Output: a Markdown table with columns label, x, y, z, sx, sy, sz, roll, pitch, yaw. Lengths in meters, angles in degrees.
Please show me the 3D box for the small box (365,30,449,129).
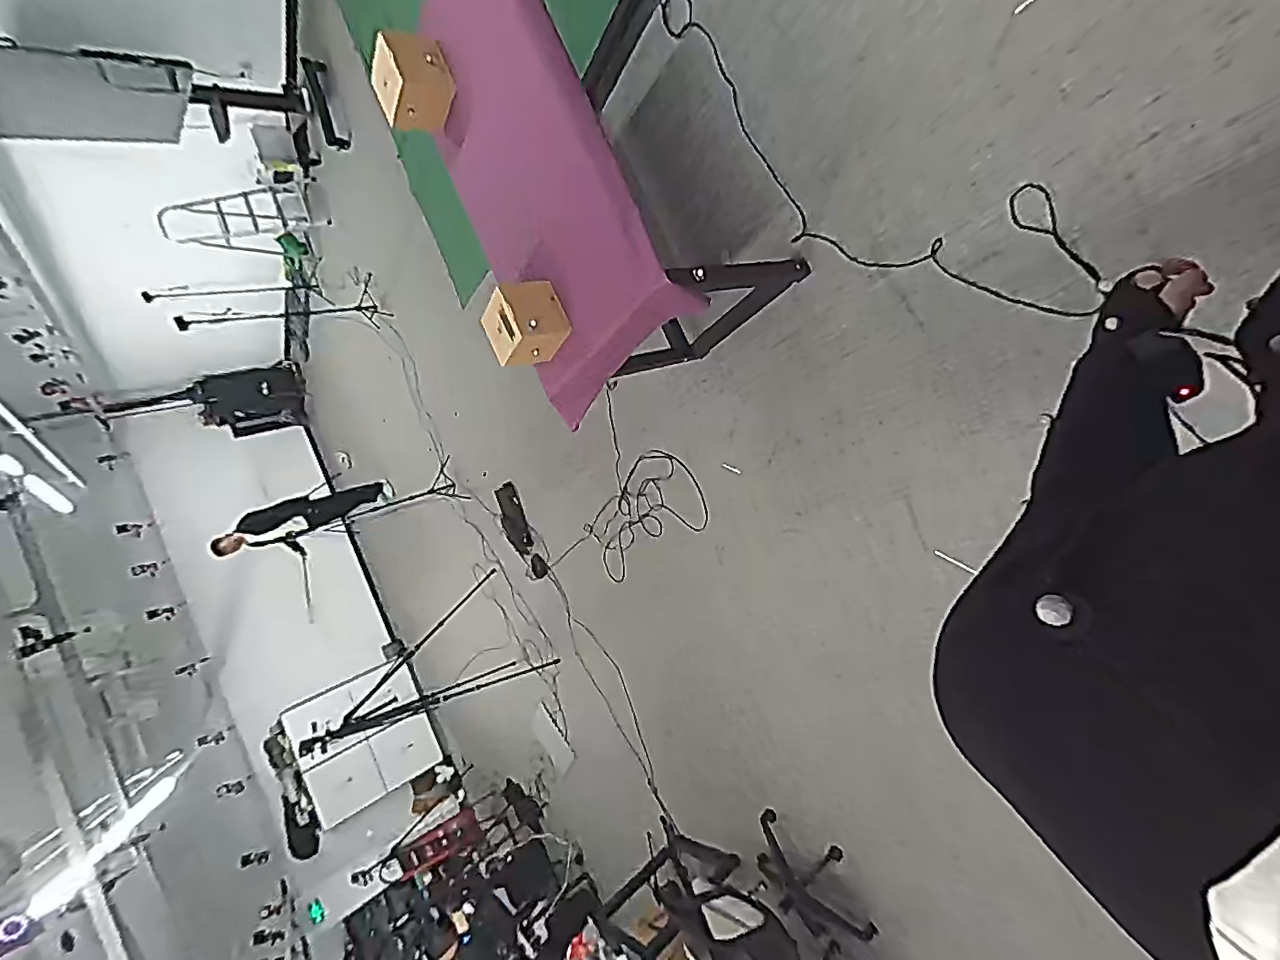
| label | x | y | z | sx | sy | sz | roll | pitch | yaw |
| --- | --- | --- | --- | --- | --- | --- | --- | --- | --- |
| small box | -0.701 | -1.196 | 1.634 | 0.179 | 0.176 | 0.168 | -26 | 89 | 52 |
